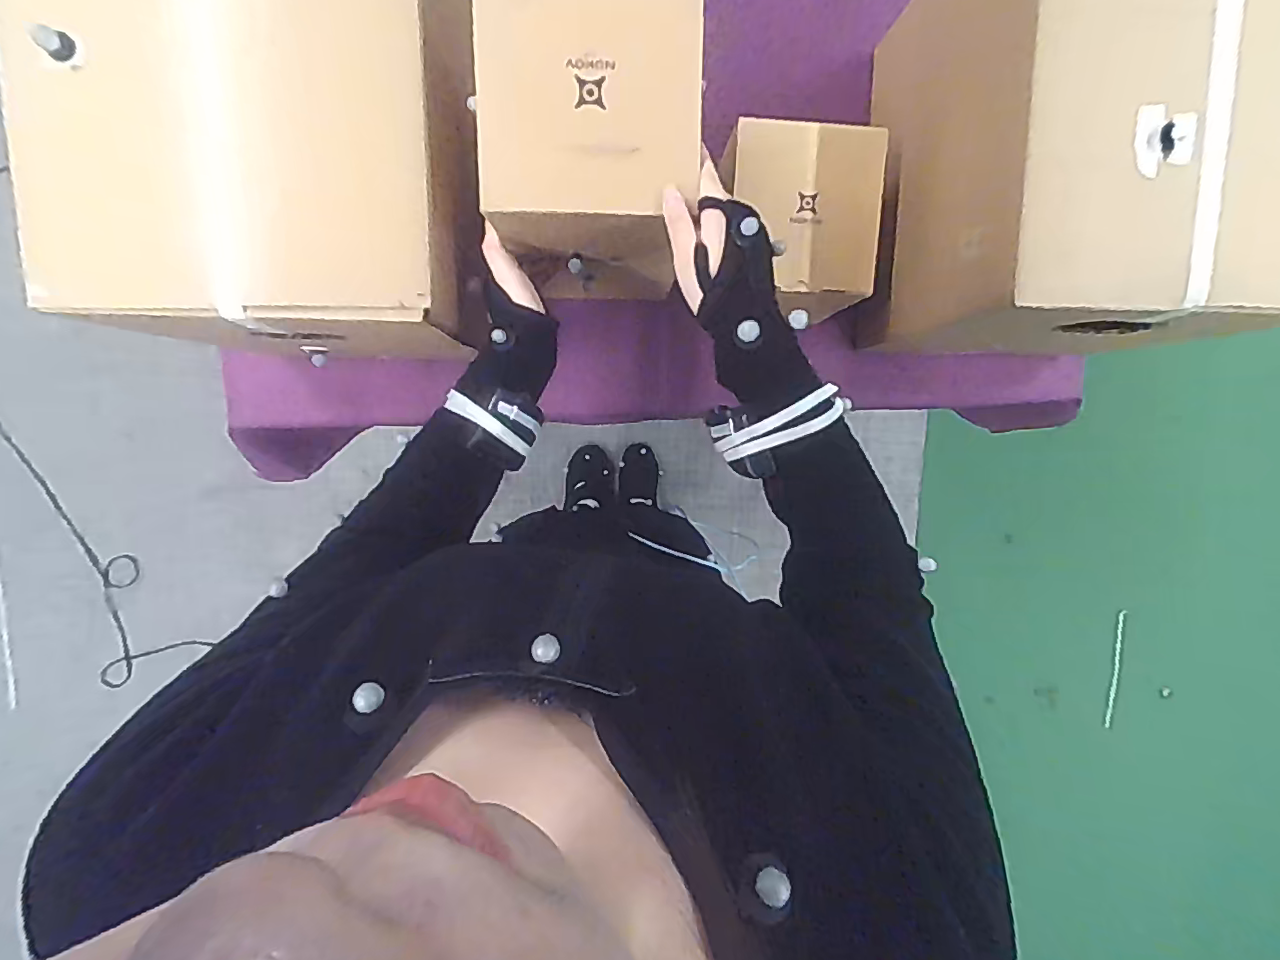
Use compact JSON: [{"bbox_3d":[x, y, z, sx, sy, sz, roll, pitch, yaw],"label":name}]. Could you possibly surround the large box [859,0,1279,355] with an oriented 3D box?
[{"bbox_3d":[0.474,-0.364,0.614,0.320,0.320,0.408,1,97,-3],"label":"large box"}]
